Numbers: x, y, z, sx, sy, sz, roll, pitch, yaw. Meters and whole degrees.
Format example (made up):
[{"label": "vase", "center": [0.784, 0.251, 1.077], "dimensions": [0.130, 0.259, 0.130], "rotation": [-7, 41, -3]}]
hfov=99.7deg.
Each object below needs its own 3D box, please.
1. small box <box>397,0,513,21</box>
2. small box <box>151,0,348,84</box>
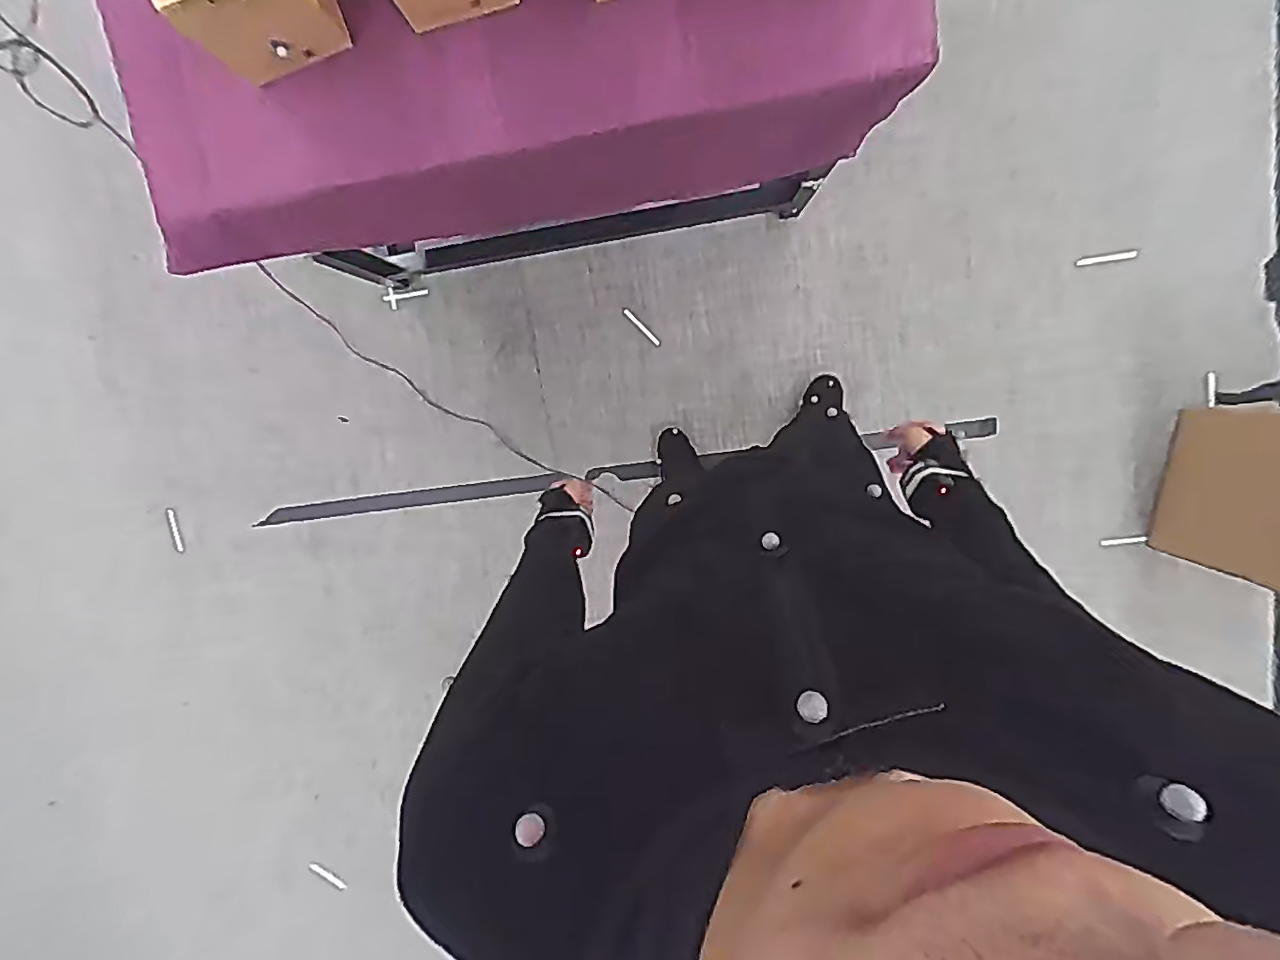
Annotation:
[{"label": "small box", "center": [-0.272, -0.744, 0.699], "dimensions": [0.168, 0.176, 0.179], "rotation": [-11, 98, 4]}, {"label": "small box", "center": [-0.536, -0.688, 0.721], "dimensions": [0.168, 0.176, 0.179], "rotation": [-18, 98, 6]}]
